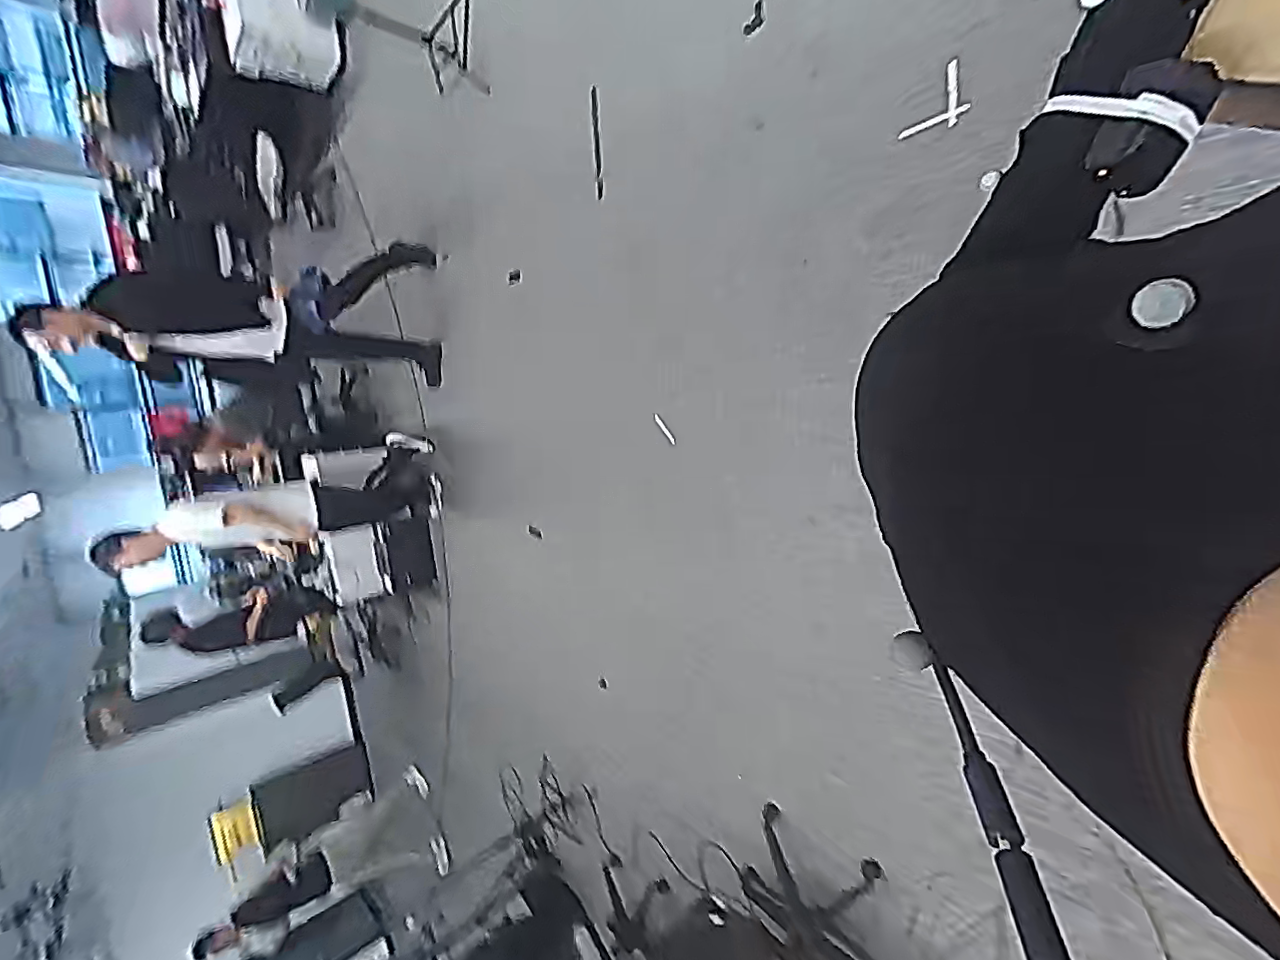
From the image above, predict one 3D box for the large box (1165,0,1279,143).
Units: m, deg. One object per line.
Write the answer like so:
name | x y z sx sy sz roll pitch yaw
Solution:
large box | 0.609 -0.357 0.279 0.408 0.320 0.320 31 130 32
